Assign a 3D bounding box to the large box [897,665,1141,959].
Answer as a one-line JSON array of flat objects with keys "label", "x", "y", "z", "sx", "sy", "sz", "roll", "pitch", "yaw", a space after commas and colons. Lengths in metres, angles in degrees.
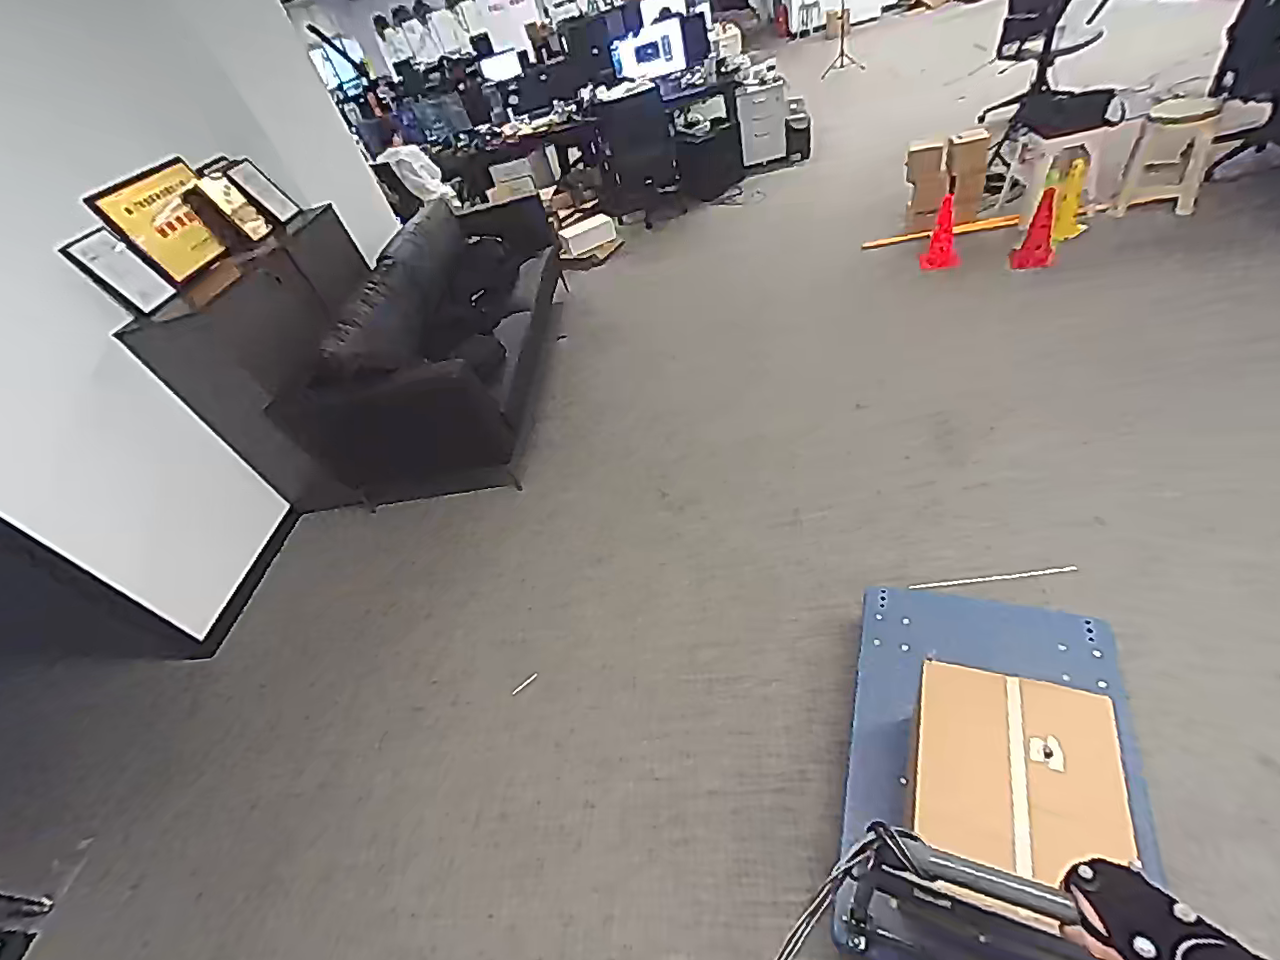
[{"label": "large box", "x": 0.690, "y": 0.648, "z": 1.059, "sx": 0.320, "sy": 0.320, "sz": 0.408, "roll": 7, "pitch": 47, "yaw": 25}]
